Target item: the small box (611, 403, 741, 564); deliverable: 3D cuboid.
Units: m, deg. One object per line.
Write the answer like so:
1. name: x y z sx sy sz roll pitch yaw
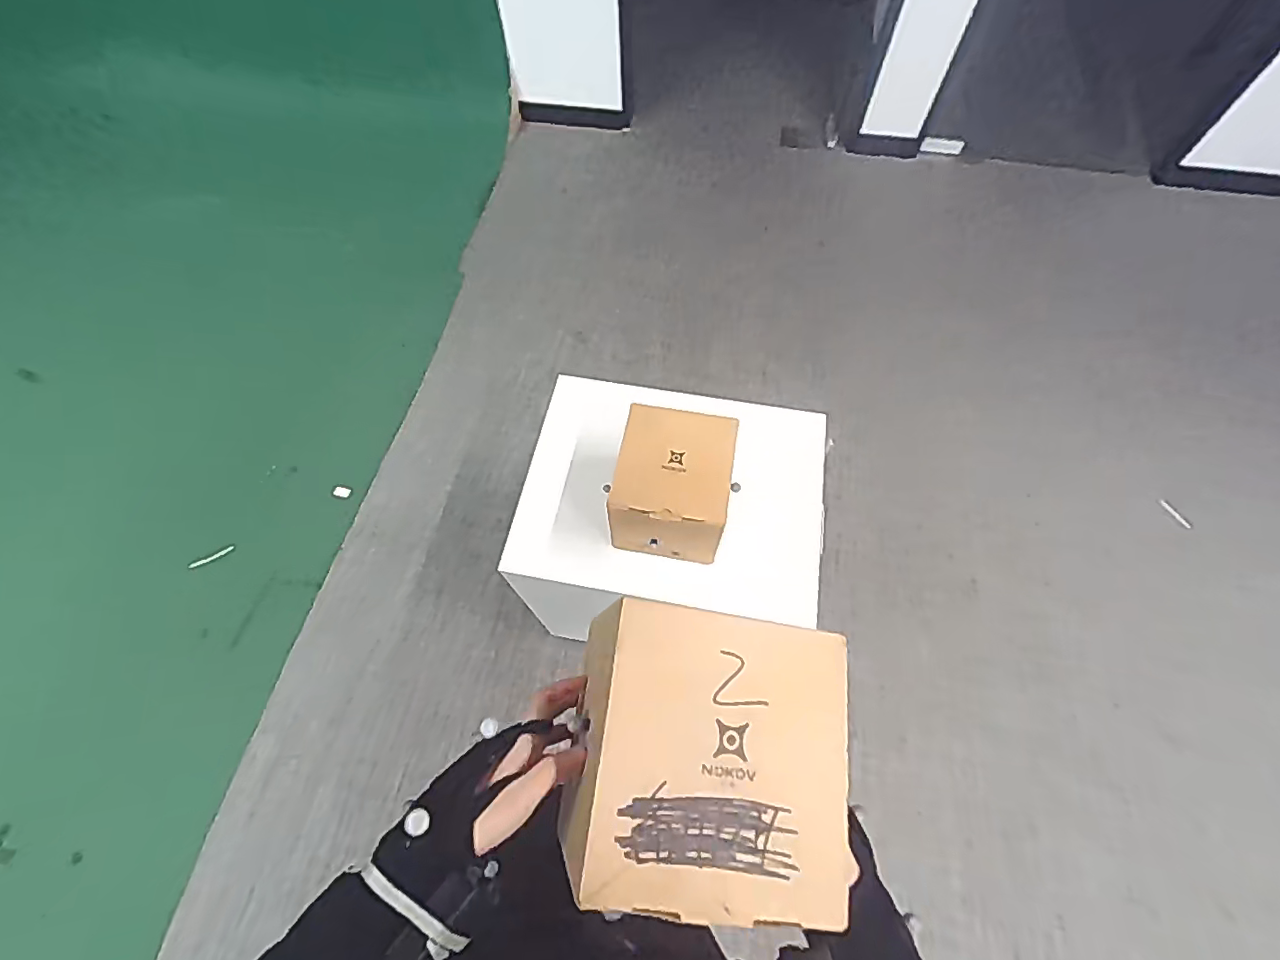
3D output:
1. small box: 0.054 0.009 0.833 0.168 0.176 0.179 9 63 5
